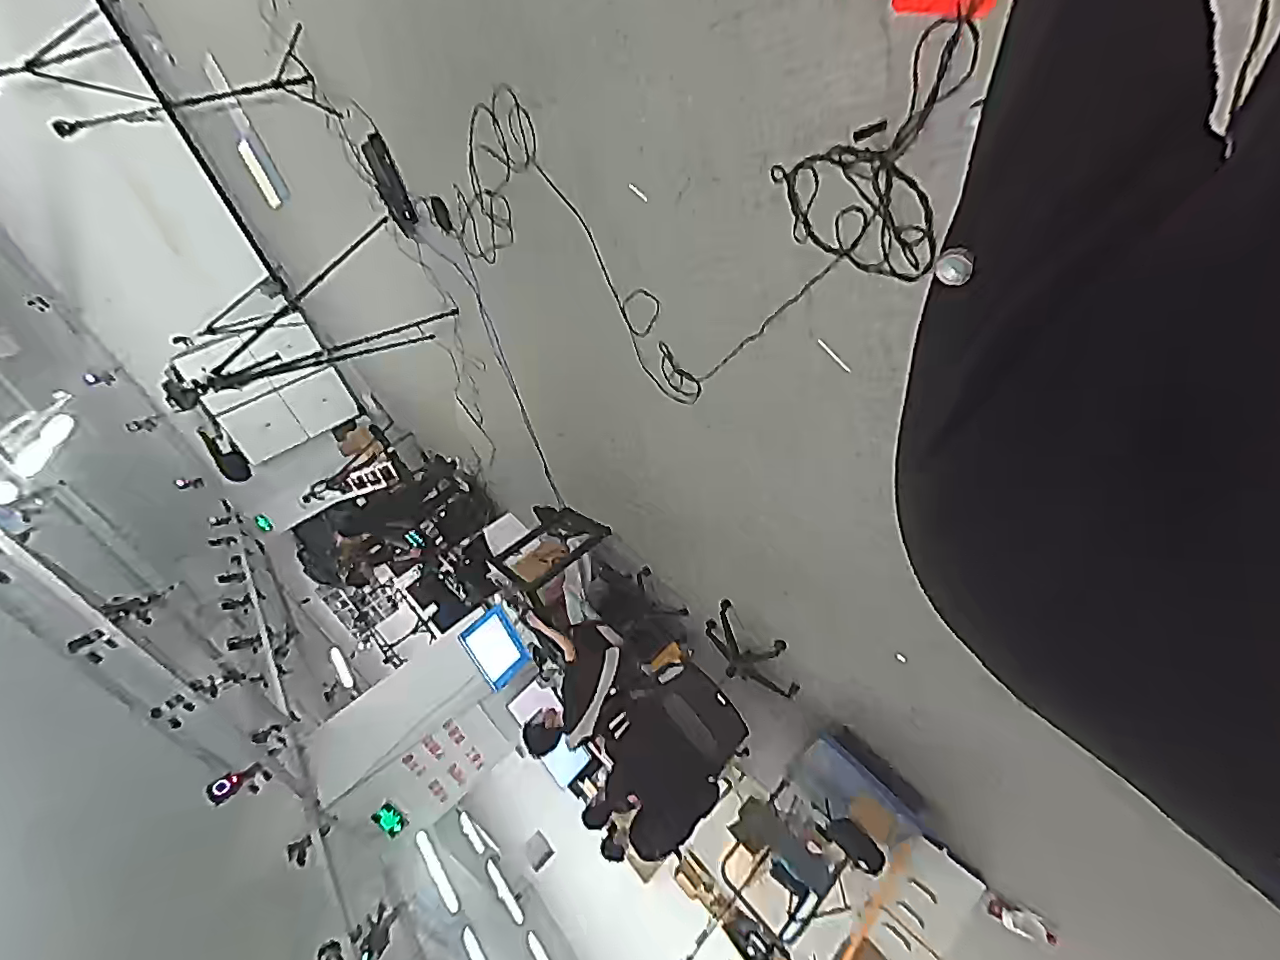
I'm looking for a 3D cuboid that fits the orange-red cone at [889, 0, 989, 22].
[{"bbox_3d":[0.429,-0.866,0.888,0.199,0.360,0.198,39,149,31],"label":"orange-red cone"}]
